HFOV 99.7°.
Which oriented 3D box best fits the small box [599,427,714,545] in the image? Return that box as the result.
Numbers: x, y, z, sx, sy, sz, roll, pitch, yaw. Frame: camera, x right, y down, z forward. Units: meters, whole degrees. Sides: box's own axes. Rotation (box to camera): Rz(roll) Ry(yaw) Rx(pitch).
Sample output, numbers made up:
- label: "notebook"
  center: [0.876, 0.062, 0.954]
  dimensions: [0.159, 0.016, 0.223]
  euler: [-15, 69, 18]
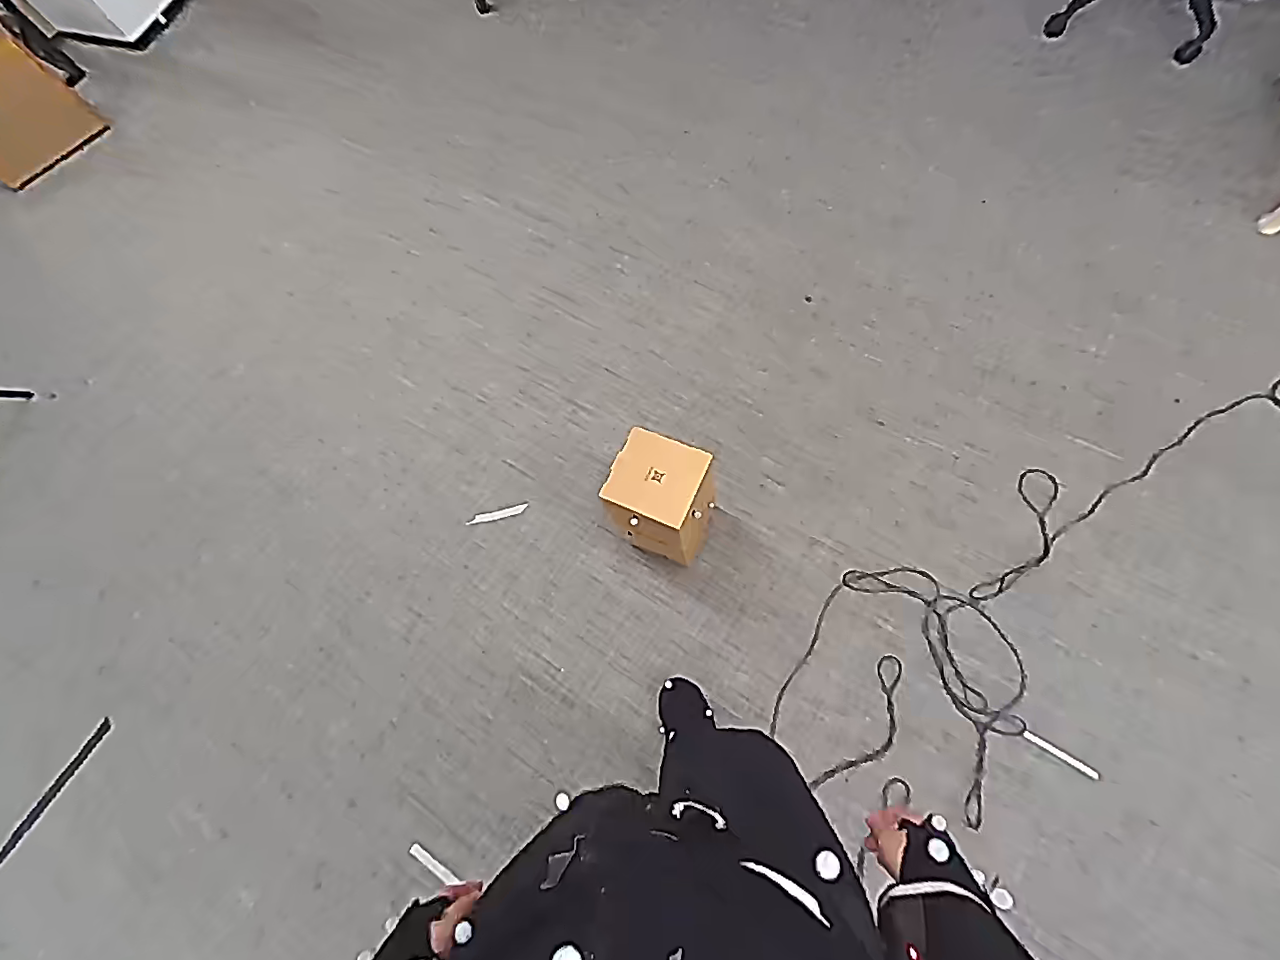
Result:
- label: "small box"
  center: [0.043, 0.021, 1.107]
  dimensions: [0.179, 0.176, 0.168]
  euler: [21, 73, 16]
